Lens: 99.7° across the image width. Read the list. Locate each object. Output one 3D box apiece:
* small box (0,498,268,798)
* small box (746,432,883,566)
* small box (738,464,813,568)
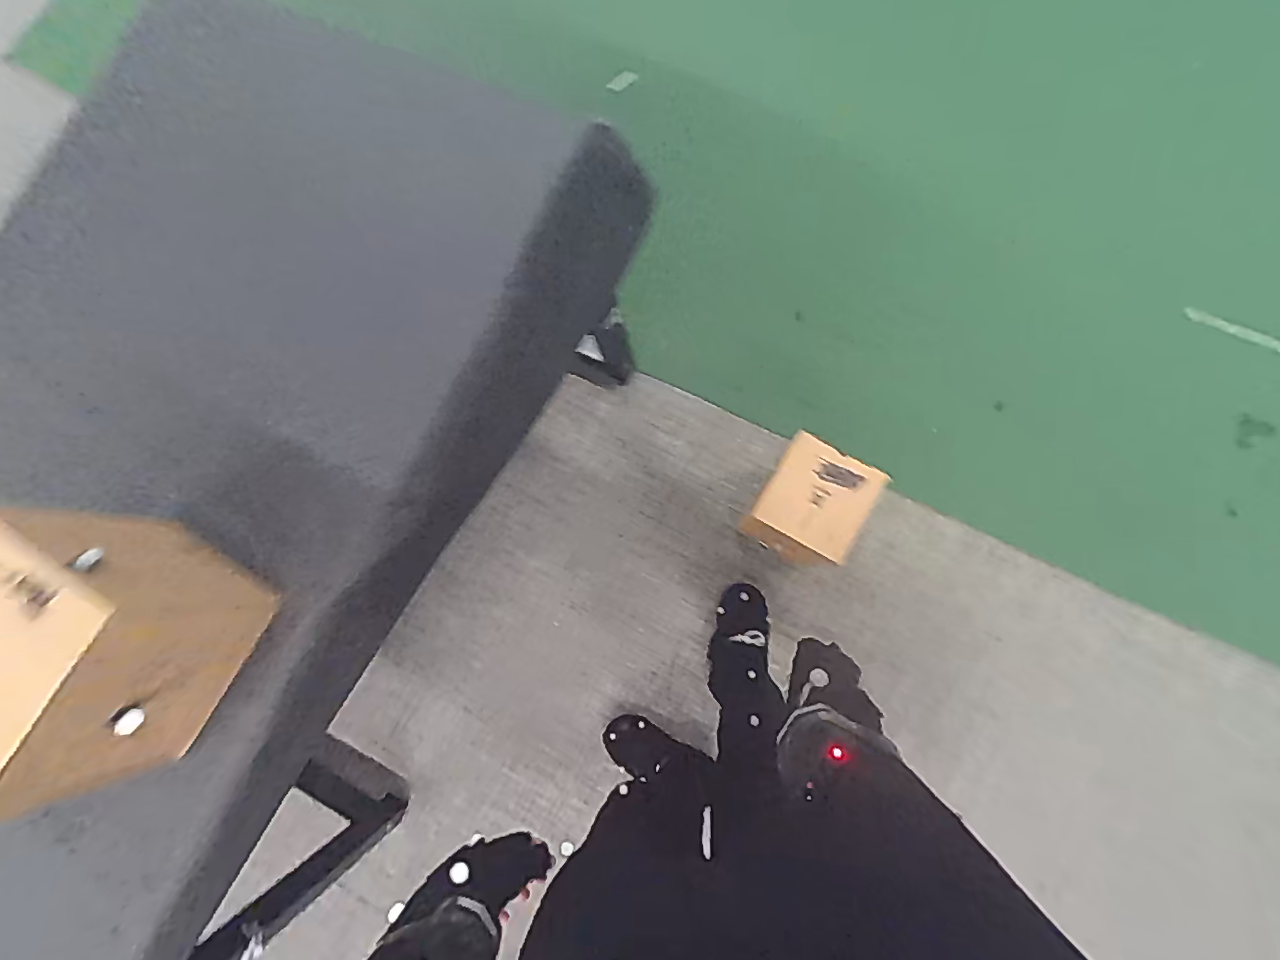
[{"bbox_3d":[-0.483,0.136,0.473,0.168,0.176,0.179,30,85,10],"label":"small box"},{"bbox_3d":[0.306,0.042,0.992,0.168,0.176,0.179,31,86,10],"label":"small box"},{"bbox_3d":[0.319,0.070,1.154,0.168,0.176,0.179,30,86,10],"label":"small box"}]
